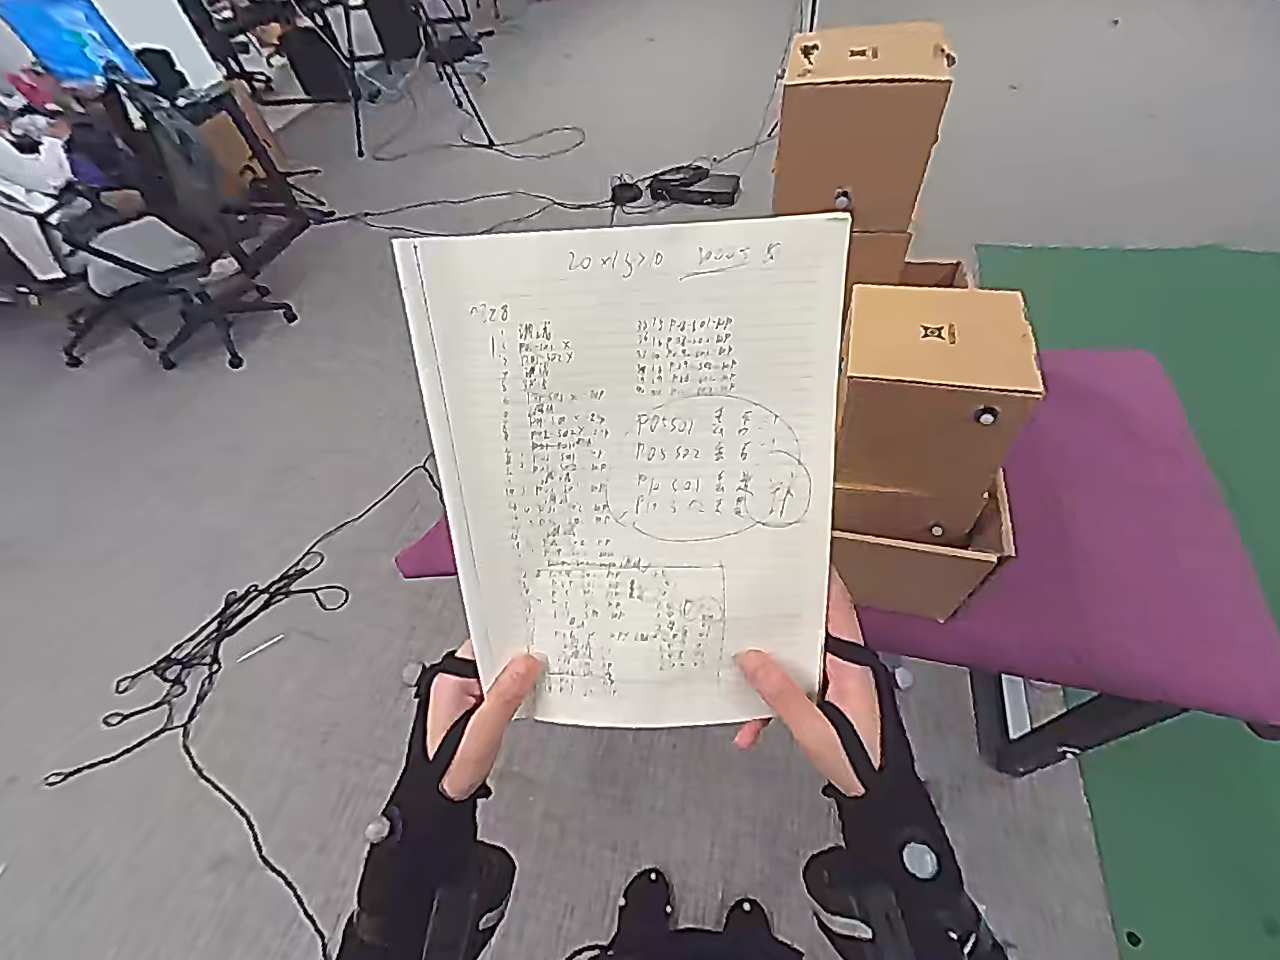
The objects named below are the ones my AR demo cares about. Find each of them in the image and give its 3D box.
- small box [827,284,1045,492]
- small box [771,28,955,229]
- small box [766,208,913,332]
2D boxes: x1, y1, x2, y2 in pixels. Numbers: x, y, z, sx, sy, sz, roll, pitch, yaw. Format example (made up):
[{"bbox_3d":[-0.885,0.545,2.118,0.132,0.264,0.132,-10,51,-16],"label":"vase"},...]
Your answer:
[{"bbox_3d":[0.321,-0.104,0.625,0.179,0.176,0.168,9,53,14],"label":"small box"},{"bbox_3d":[0.272,-0.441,0.688,0.179,0.176,0.168,9,55,13],"label":"small box"},{"bbox_3d":[0.291,-0.341,0.817,0.179,0.176,0.168,6,55,12],"label":"small box"}]
